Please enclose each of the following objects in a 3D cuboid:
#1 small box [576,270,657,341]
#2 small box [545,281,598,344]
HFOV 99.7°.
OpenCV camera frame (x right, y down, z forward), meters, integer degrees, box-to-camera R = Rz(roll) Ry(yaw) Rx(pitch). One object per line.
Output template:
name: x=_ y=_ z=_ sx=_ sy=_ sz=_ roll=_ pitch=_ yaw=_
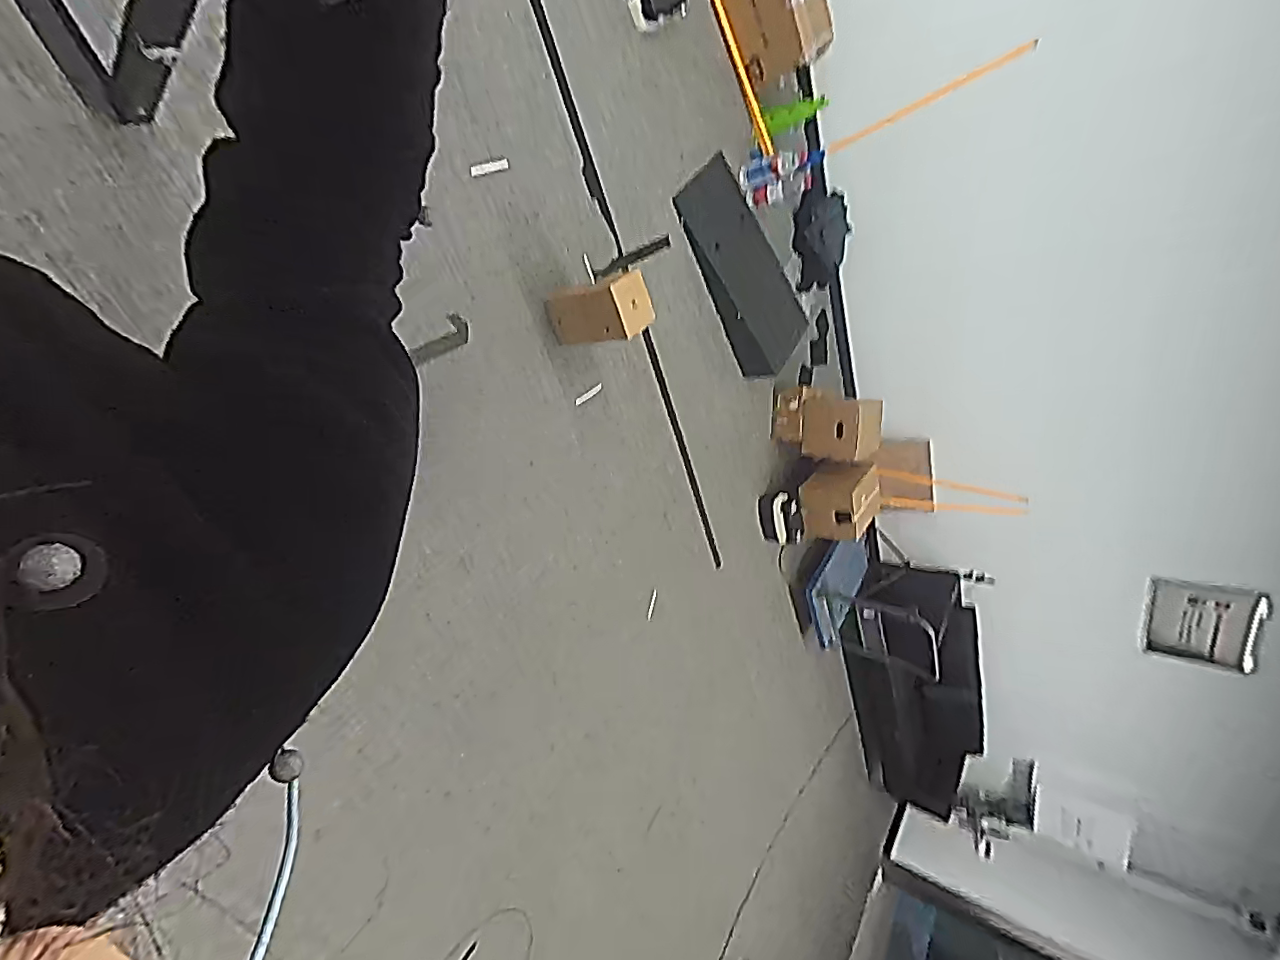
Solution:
small box: x=-0.078 y=-0.571 z=1.784 sx=0.168 sy=0.176 sz=0.179 roll=-45 pitch=126 yaw=-36
small box: x=-0.199 y=-0.585 z=1.893 sx=0.168 sy=0.176 sz=0.179 roll=-43 pitch=126 yaw=-37
